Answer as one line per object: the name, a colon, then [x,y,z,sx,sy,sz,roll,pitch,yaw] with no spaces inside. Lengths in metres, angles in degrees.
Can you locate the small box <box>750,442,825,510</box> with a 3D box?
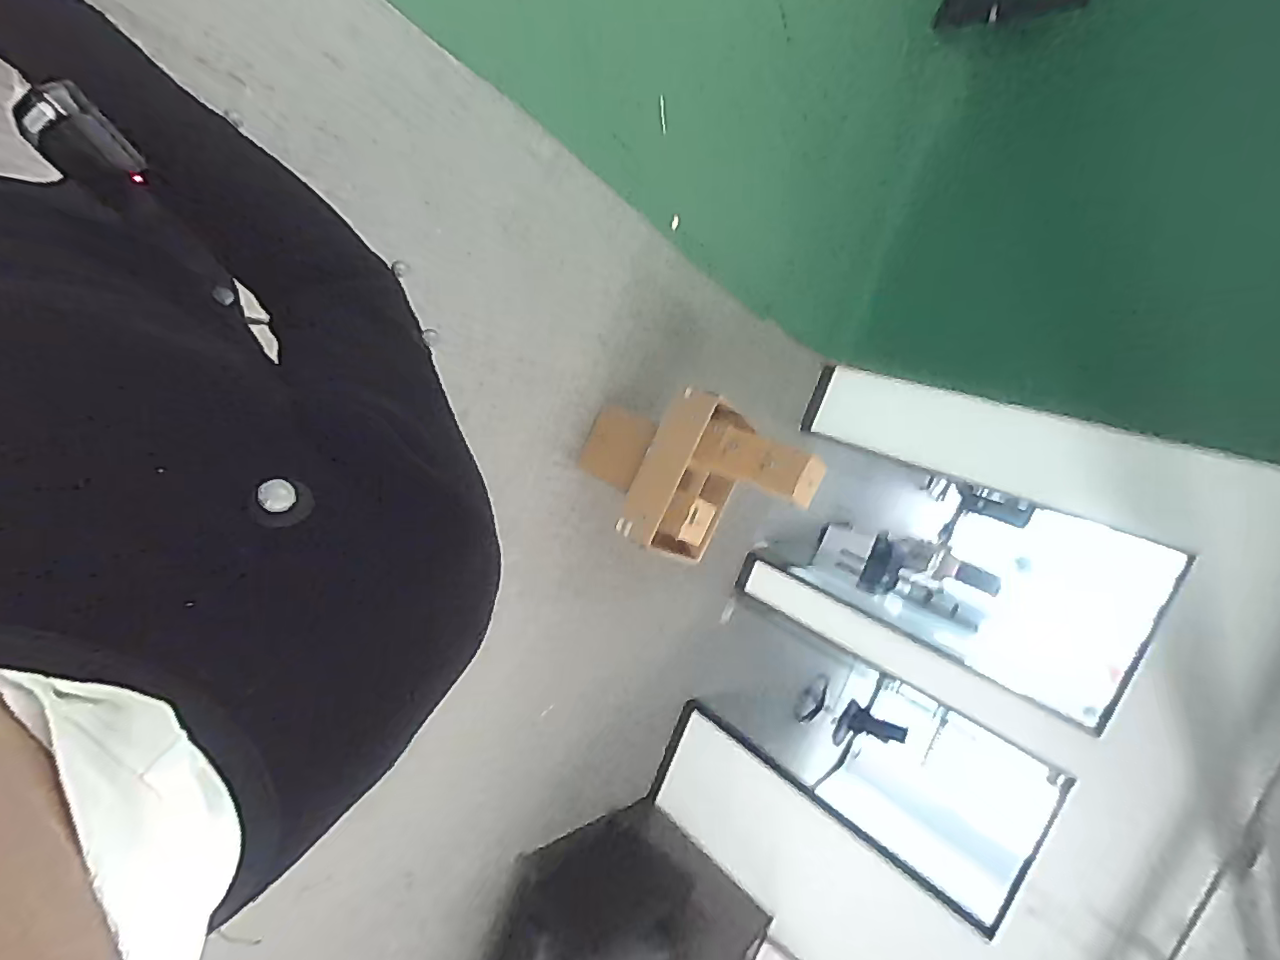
small box: [0.518,-0.016,1.903,0.179,0.176,0.168,28,87,-52]

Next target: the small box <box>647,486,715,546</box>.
small box: [0.157,0.137,2.100,0.179,0.176,0.168,27,89,-52]

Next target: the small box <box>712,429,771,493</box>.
small box: [0.398,-0.073,2.001,0.179,0.176,0.168,27,89,-52]
